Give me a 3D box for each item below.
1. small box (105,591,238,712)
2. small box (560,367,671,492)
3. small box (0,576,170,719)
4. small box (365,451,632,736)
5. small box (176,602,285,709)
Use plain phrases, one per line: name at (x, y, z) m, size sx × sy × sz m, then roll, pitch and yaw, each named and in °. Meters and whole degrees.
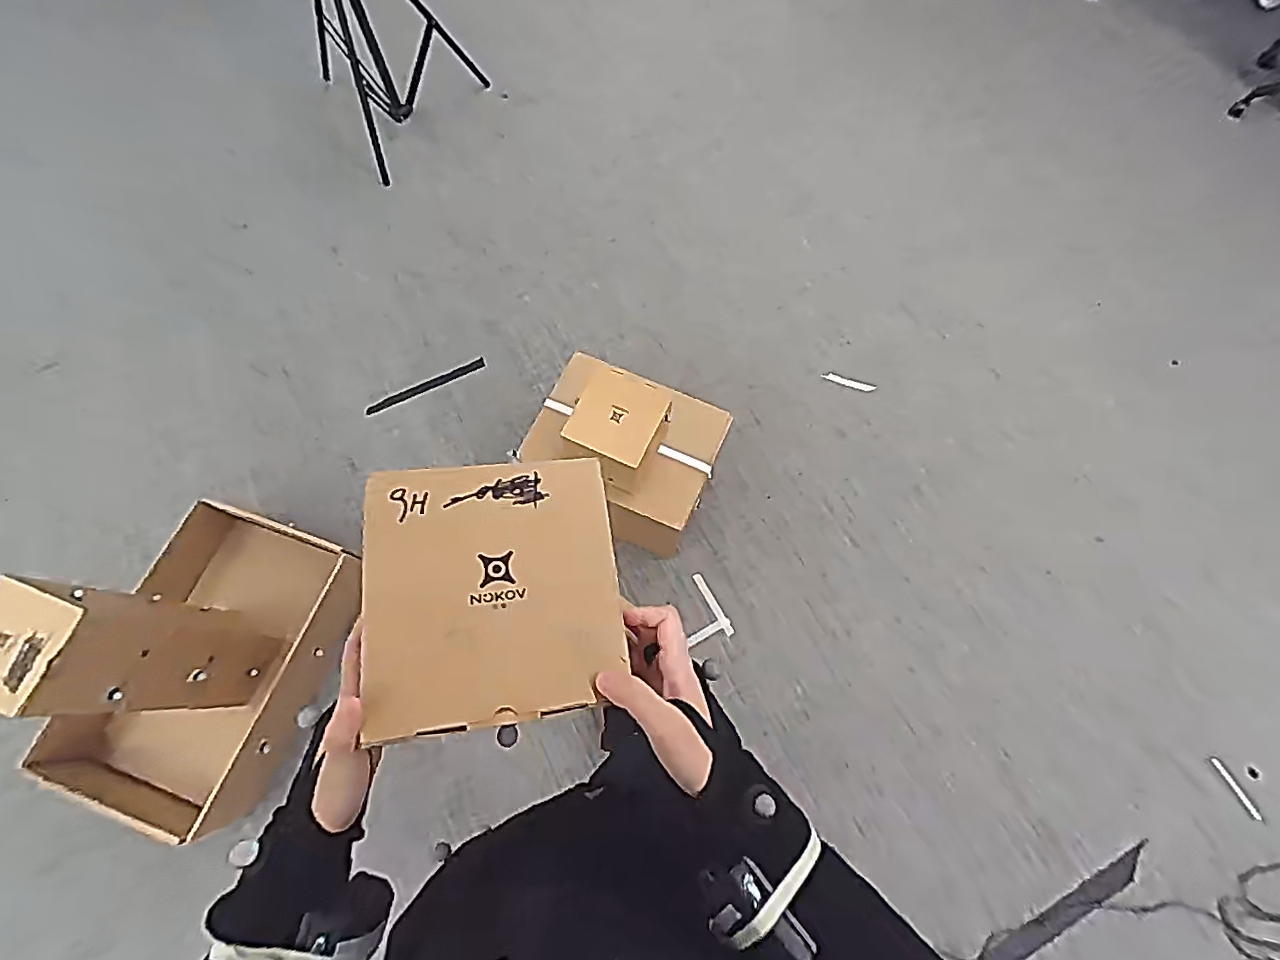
small box at (-0.951, 0.334, 1.051) m, size 0.179 × 0.176 × 0.168 m, roll 20°, pitch 71°, yaw 6°
small box at (-0.046, -0.097, 1.125) m, size 0.168 × 0.176 × 0.179 m, roll 23°, pitch 71°, yaw 7°
small box at (-0.954, 0.277, 0.897) m, size 0.179 × 0.176 × 0.168 m, roll 19°, pitch 71°, yaw 7°
small box at (-0.111, 0.093, 0.436) m, size 0.168 × 0.176 × 0.179 m, roll -5°, pitch 69°, yaw -15°
small box at (-0.953, 0.392, 1.202) m, size 0.179 × 0.176 × 0.168 m, roll 21°, pitch 71°, yaw 7°
